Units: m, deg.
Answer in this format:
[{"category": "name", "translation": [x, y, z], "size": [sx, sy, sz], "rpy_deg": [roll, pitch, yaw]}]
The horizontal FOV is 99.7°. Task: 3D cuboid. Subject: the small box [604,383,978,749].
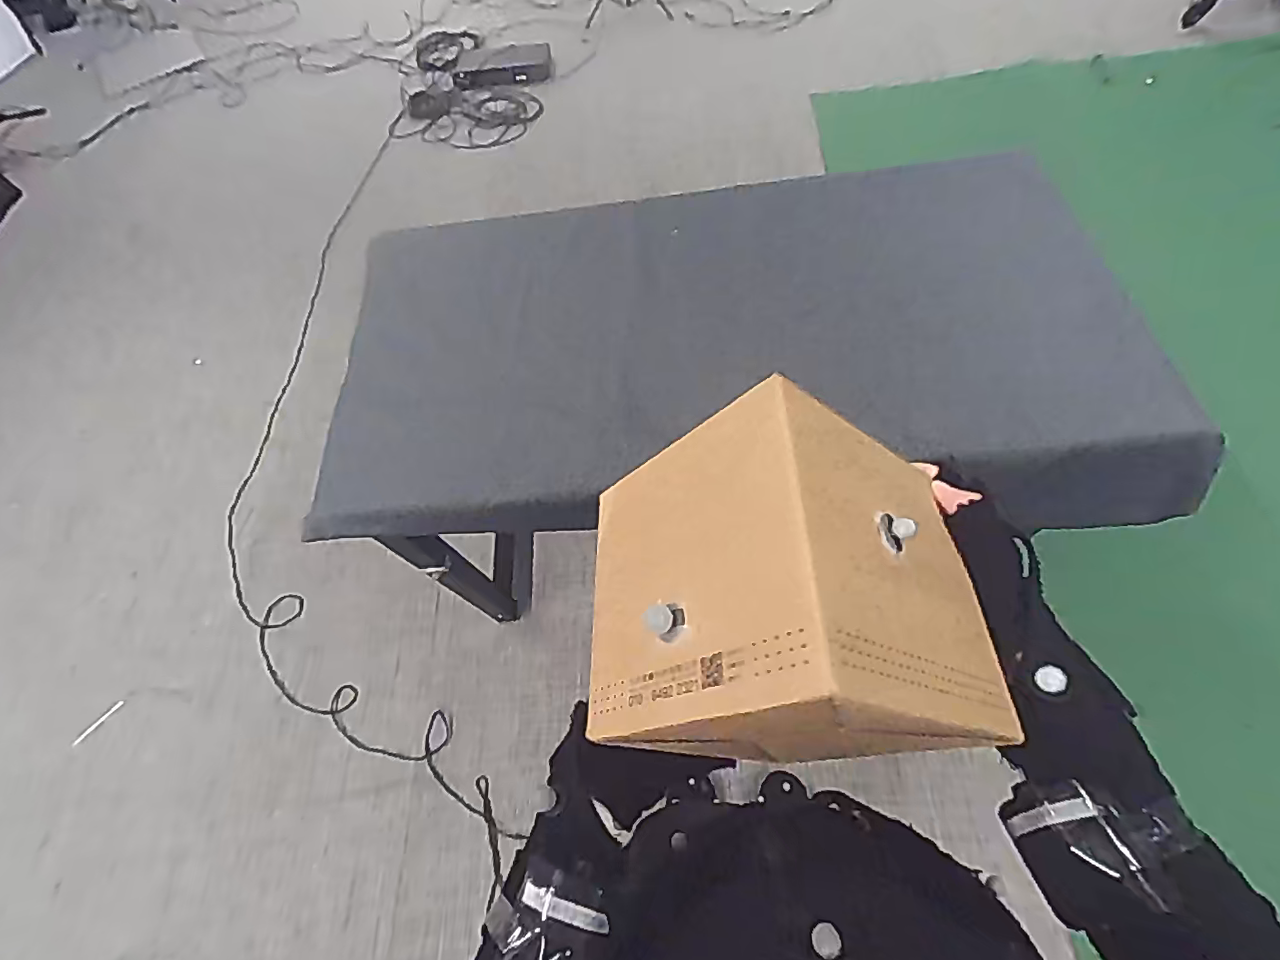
[{"category": "small box", "translation": [0.089, 0.076, 0.358], "size": [0.168, 0.179, 0.176], "rpy_deg": [-34, 44, 40]}]
